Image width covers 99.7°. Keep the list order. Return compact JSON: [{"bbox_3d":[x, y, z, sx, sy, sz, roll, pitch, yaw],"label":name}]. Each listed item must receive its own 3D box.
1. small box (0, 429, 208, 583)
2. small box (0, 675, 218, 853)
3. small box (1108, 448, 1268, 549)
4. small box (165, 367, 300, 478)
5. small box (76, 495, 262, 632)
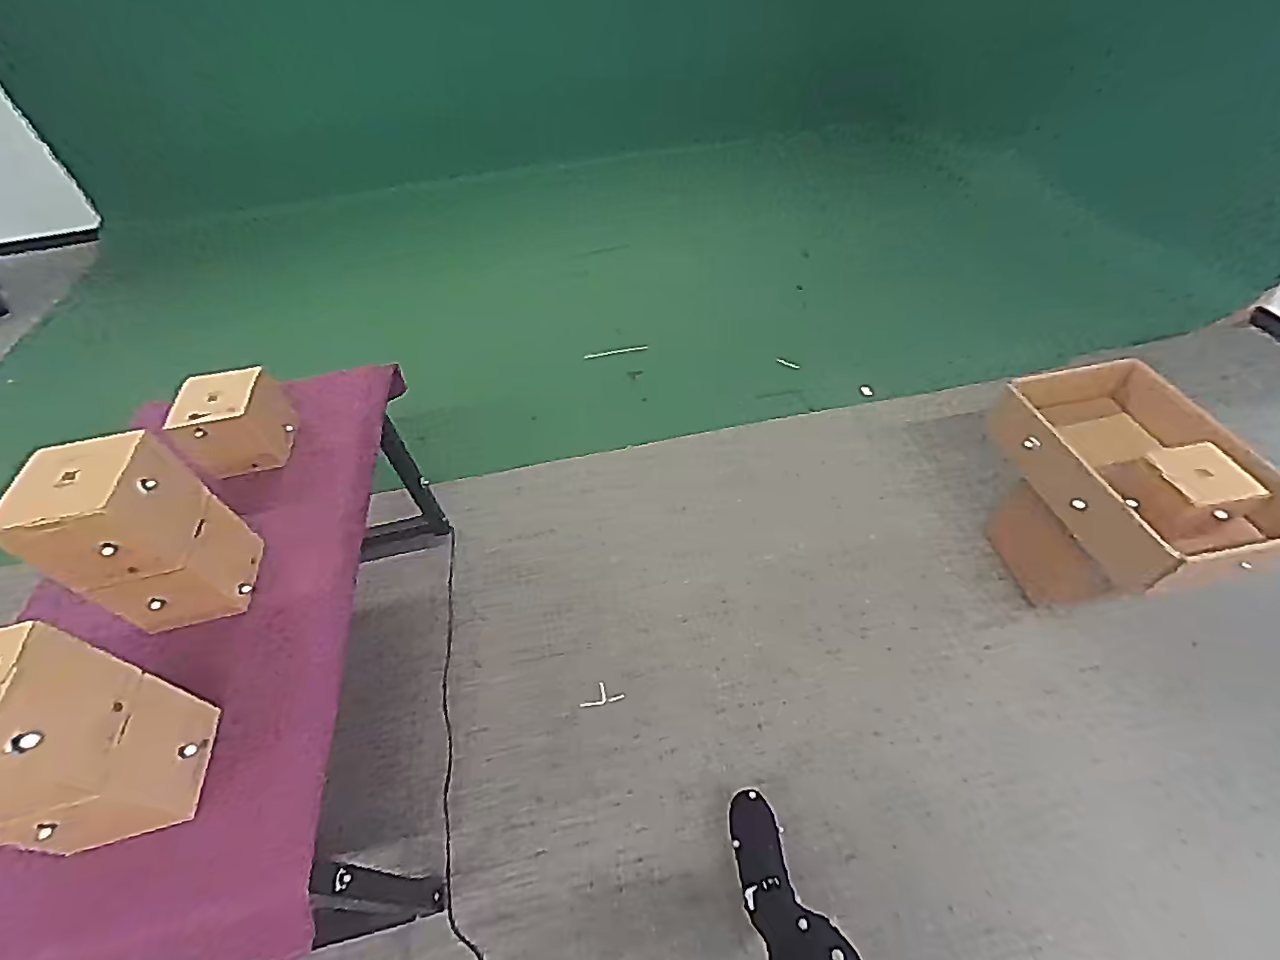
[{"bbox_3d":[-0.850,0.049,0.871,0.168,0.176,0.179,-12,49,-6],"label":"small box"},{"bbox_3d":[-0.763,0.407,0.769,0.179,0.176,0.168,-13,50,-6],"label":"small box"},{"bbox_3d":[1.313,0.047,1.313,0.179,0.176,0.168,-9,50,-2],"label":"small box"},{"bbox_3d":[-0.923,-0.131,1.248,0.168,0.176,0.179,-11,50,-4],"label":"small box"},{"bbox_3d":[-0.843,0.156,0.994,0.179,0.176,0.168,-13,49,-5],"label":"small box"}]
